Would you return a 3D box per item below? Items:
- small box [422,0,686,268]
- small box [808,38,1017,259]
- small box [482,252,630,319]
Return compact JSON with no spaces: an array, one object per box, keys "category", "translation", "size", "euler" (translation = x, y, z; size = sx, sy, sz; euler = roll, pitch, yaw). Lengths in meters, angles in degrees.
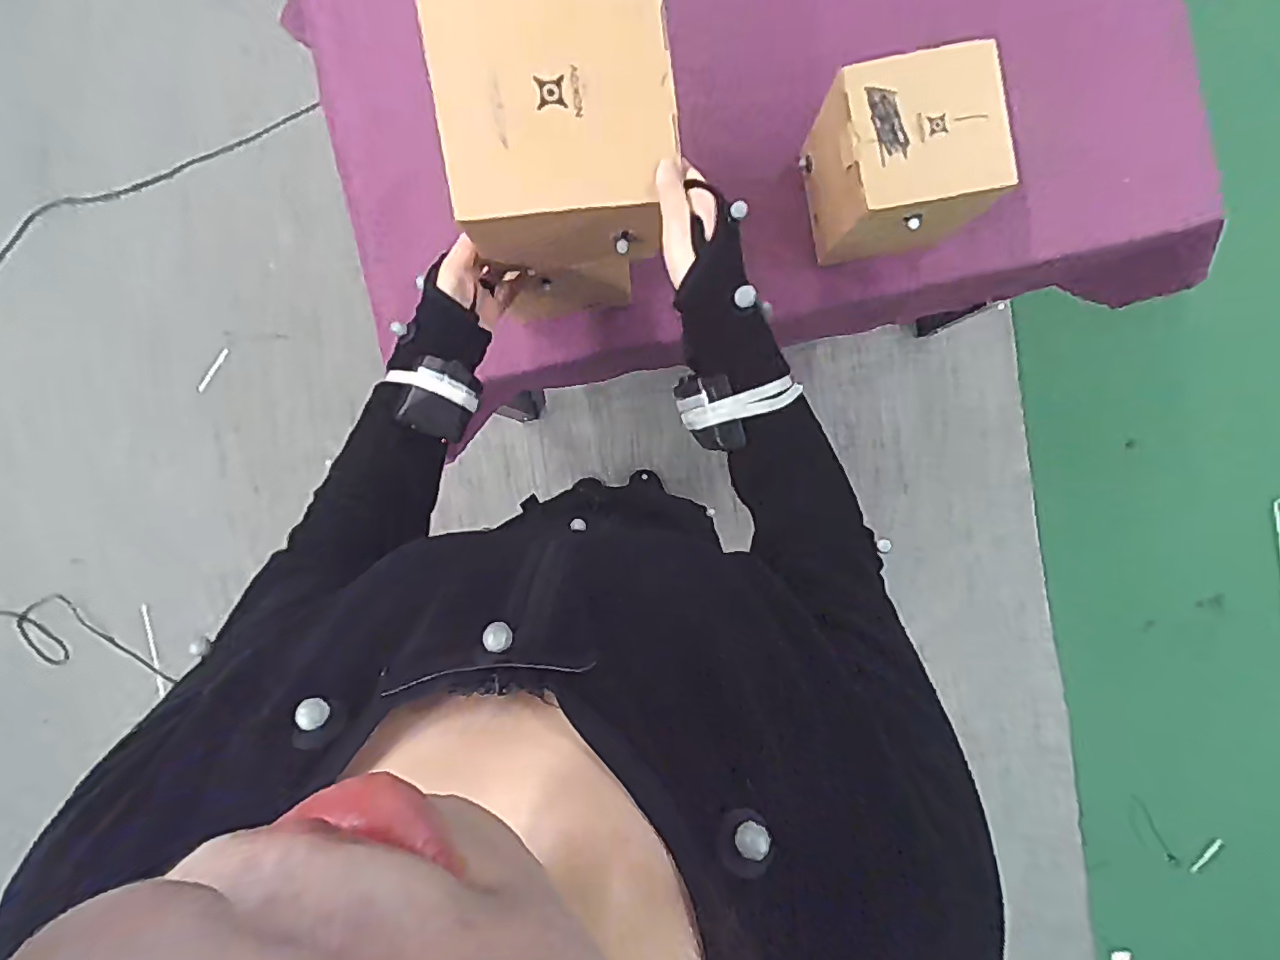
[{"category":"small box","translation":[-0.067,-0.293,0.470],"size":[0.179,0.176,0.168],"euler":[-8,100,-4]},{"category":"small box","translation":[0.323,-0.398,0.682],"size":[0.179,0.176,0.168],"euler":[-10,92,0]},{"category":"small box","translation":[-0.106,-0.325,0.690],"size":[0.168,0.176,0.179],"euler":[-9,91,1]}]
